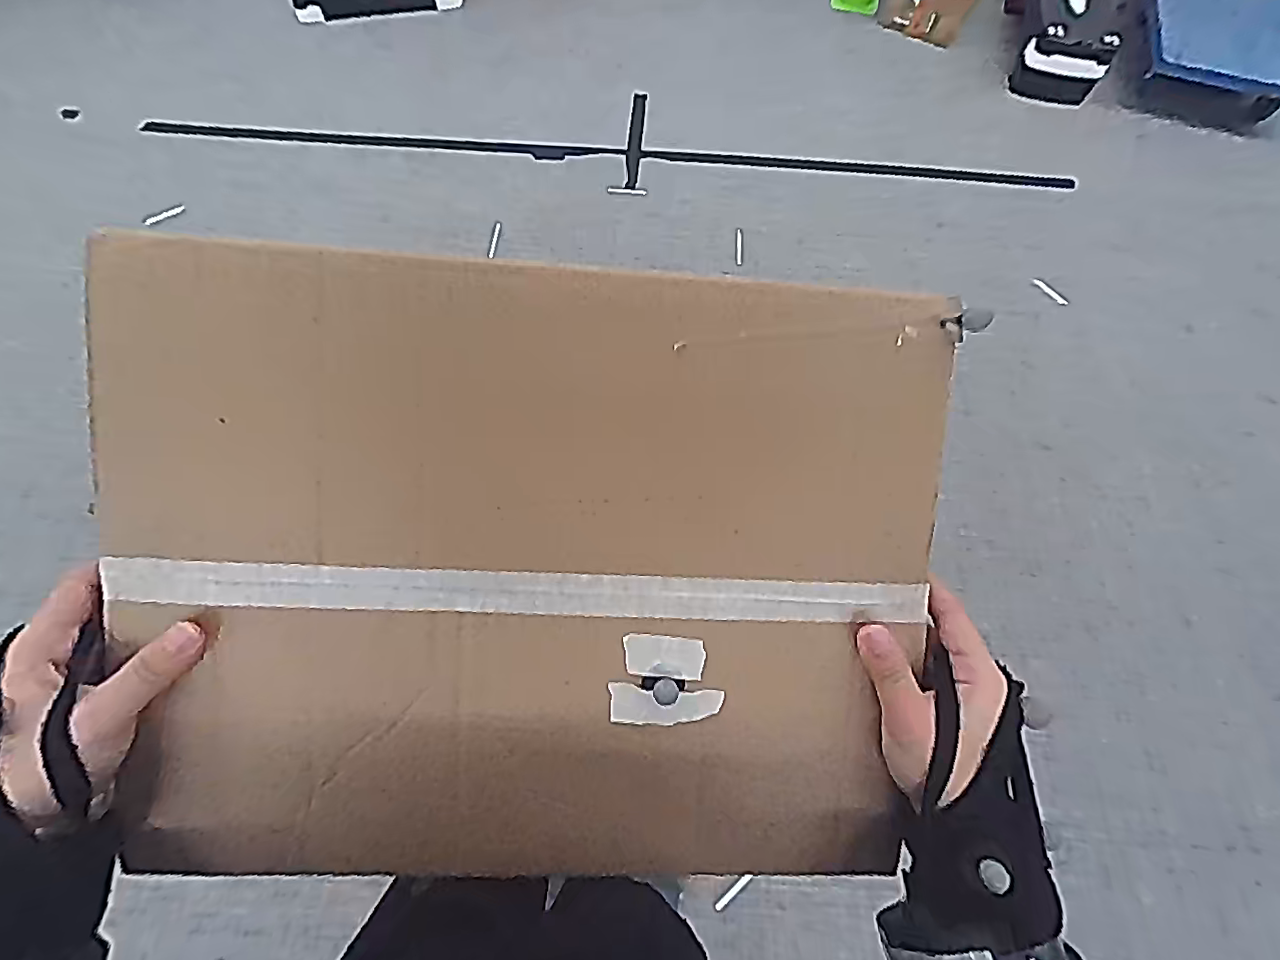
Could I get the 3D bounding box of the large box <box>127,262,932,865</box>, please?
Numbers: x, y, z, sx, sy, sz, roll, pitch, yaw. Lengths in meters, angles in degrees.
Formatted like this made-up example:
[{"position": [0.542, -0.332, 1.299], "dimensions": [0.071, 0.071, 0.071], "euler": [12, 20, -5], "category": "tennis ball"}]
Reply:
[{"position": [-0.062, 0.040, 0.431], "dimensions": [0.408, 0.320, 0.320], "euler": [3, 97, -5], "category": "large box"}]
